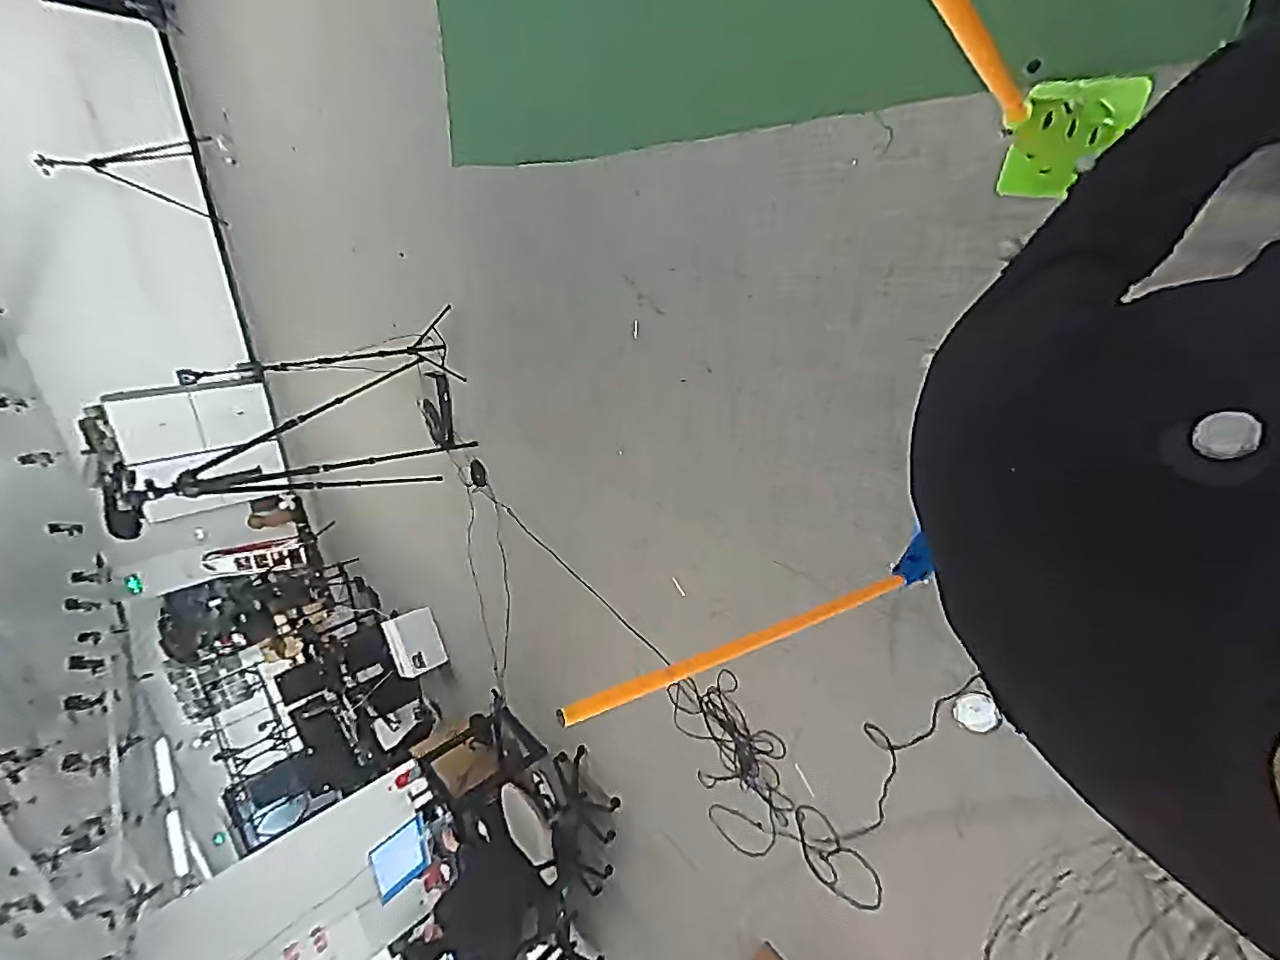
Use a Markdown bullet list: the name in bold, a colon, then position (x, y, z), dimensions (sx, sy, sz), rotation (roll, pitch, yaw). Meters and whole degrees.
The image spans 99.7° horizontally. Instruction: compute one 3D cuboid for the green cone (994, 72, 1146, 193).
- **green cone**: position (0.727, -0.648, 0.977), dimensions (0.202, 0.368, 0.200), rotation (30, 126, 39)
